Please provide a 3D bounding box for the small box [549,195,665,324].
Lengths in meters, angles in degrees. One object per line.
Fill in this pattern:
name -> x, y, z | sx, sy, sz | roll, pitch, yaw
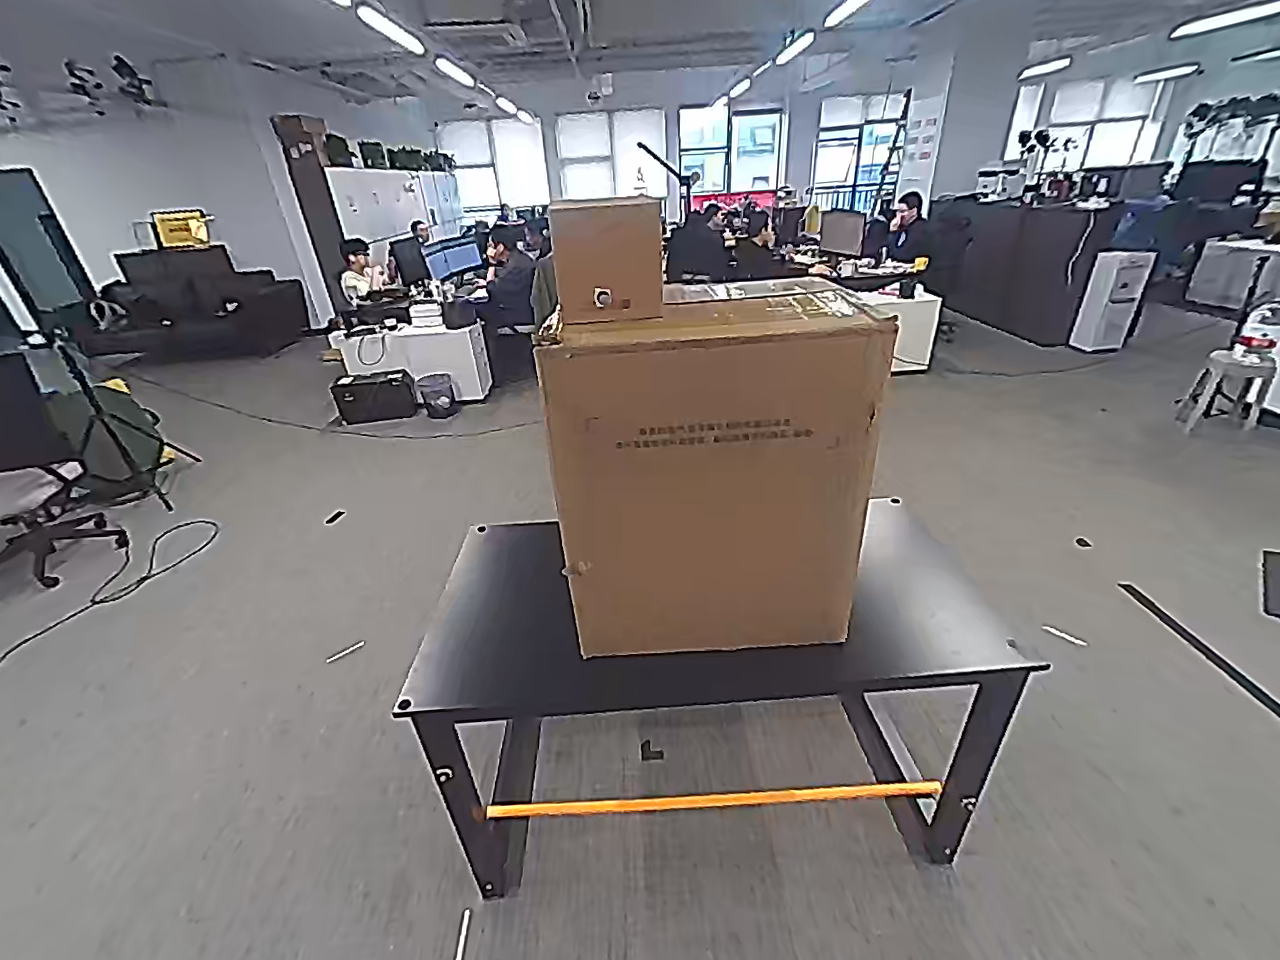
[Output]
small box -> -0.054, -0.361, 0.881 | 0.168, 0.176, 0.179 | -7, 32, -4
